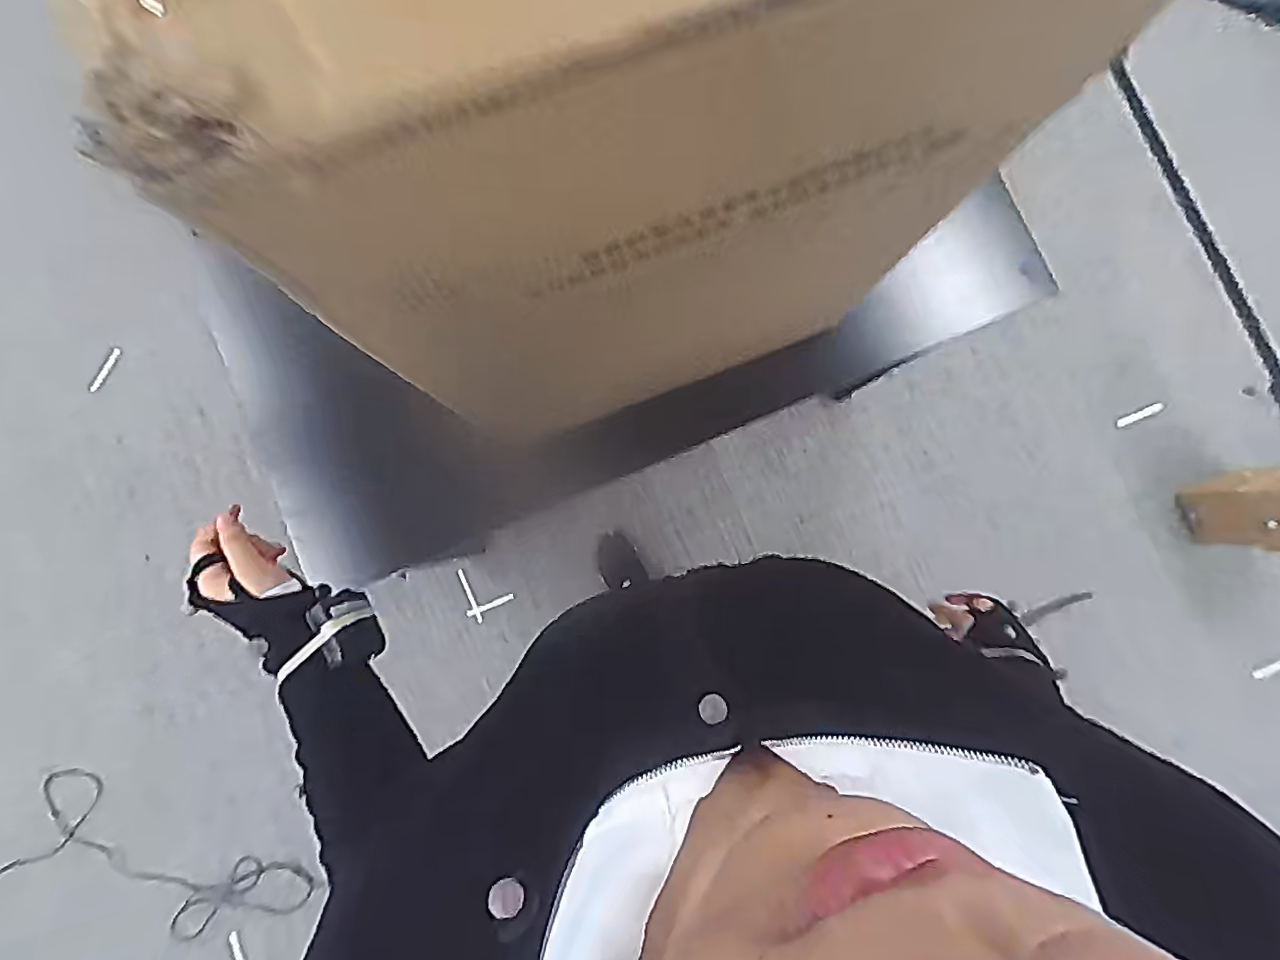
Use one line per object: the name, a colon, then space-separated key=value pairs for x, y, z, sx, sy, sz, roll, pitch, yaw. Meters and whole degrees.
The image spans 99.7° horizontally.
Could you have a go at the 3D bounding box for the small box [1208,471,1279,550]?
small box: x=1.680 y=0.075 z=1.418 sx=0.179 sy=0.176 sz=0.168 roll=-23 pitch=86 yaw=-2
